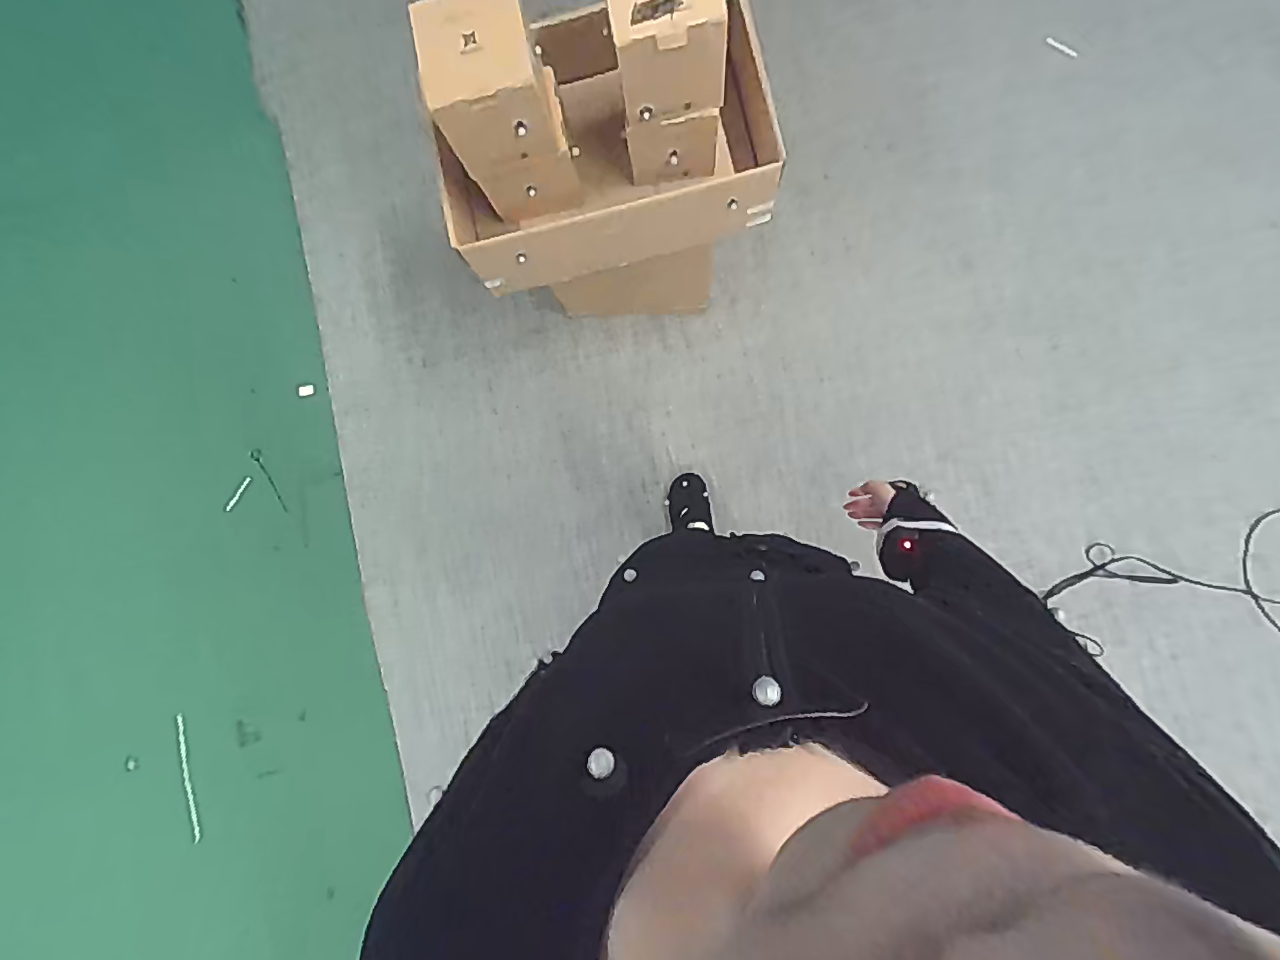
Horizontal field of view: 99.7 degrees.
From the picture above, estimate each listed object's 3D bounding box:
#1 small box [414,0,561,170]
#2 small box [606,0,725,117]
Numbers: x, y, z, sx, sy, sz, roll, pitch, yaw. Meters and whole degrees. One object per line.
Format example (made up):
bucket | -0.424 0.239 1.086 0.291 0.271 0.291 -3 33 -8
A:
small box | -0.237 -0.638 0.878 0.168 0.176 0.179 -12 84 5
small box | 0.040 -0.712 0.852 0.168 0.176 0.179 -10 84 6
